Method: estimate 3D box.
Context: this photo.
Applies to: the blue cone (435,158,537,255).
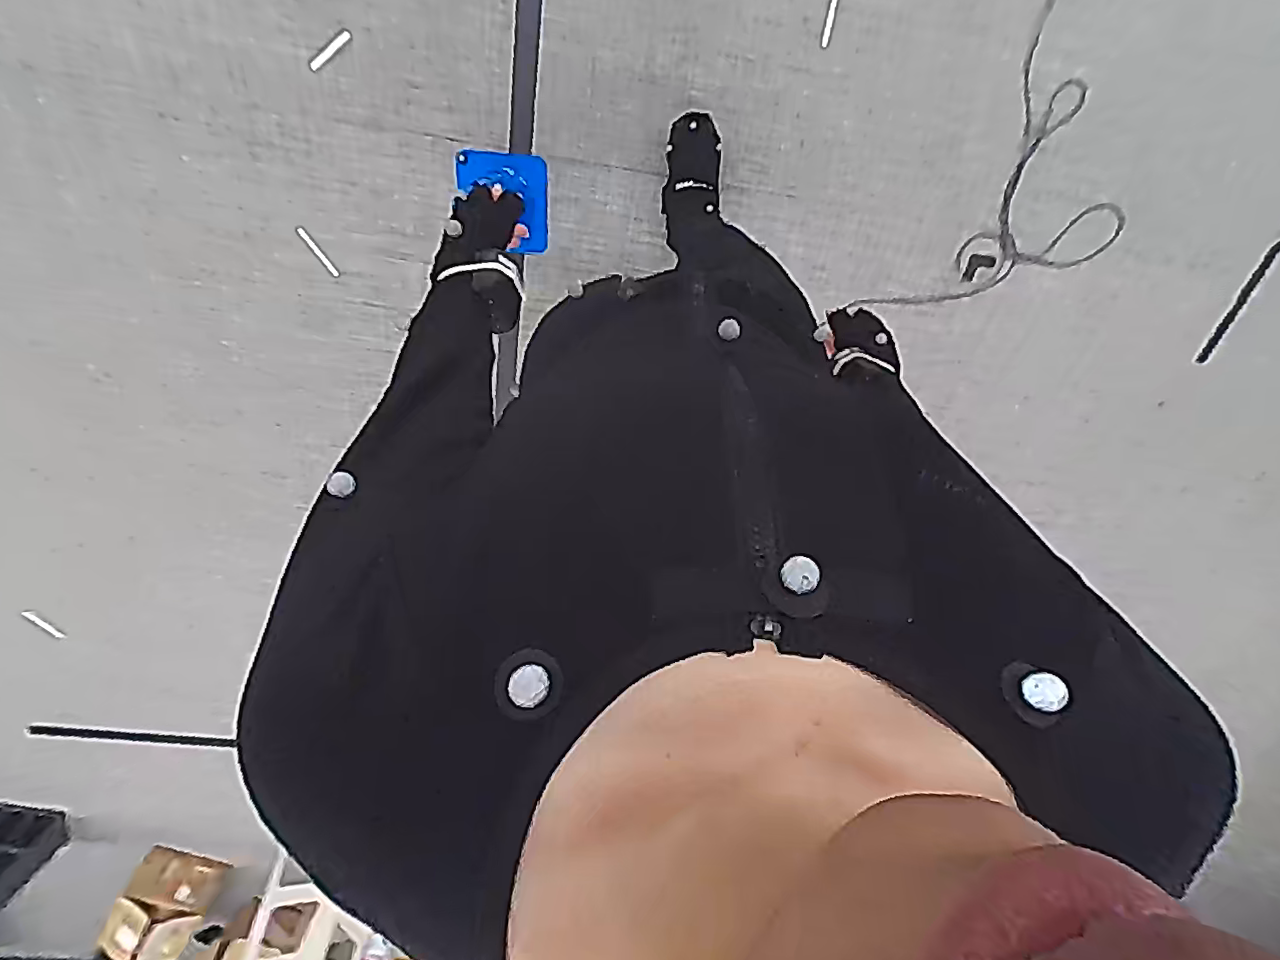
[{"bbox_3d":[-0.324,-0.543,1.077,0.192,0.380,0.193,4,116,-4],"label":"blue cone"}]
